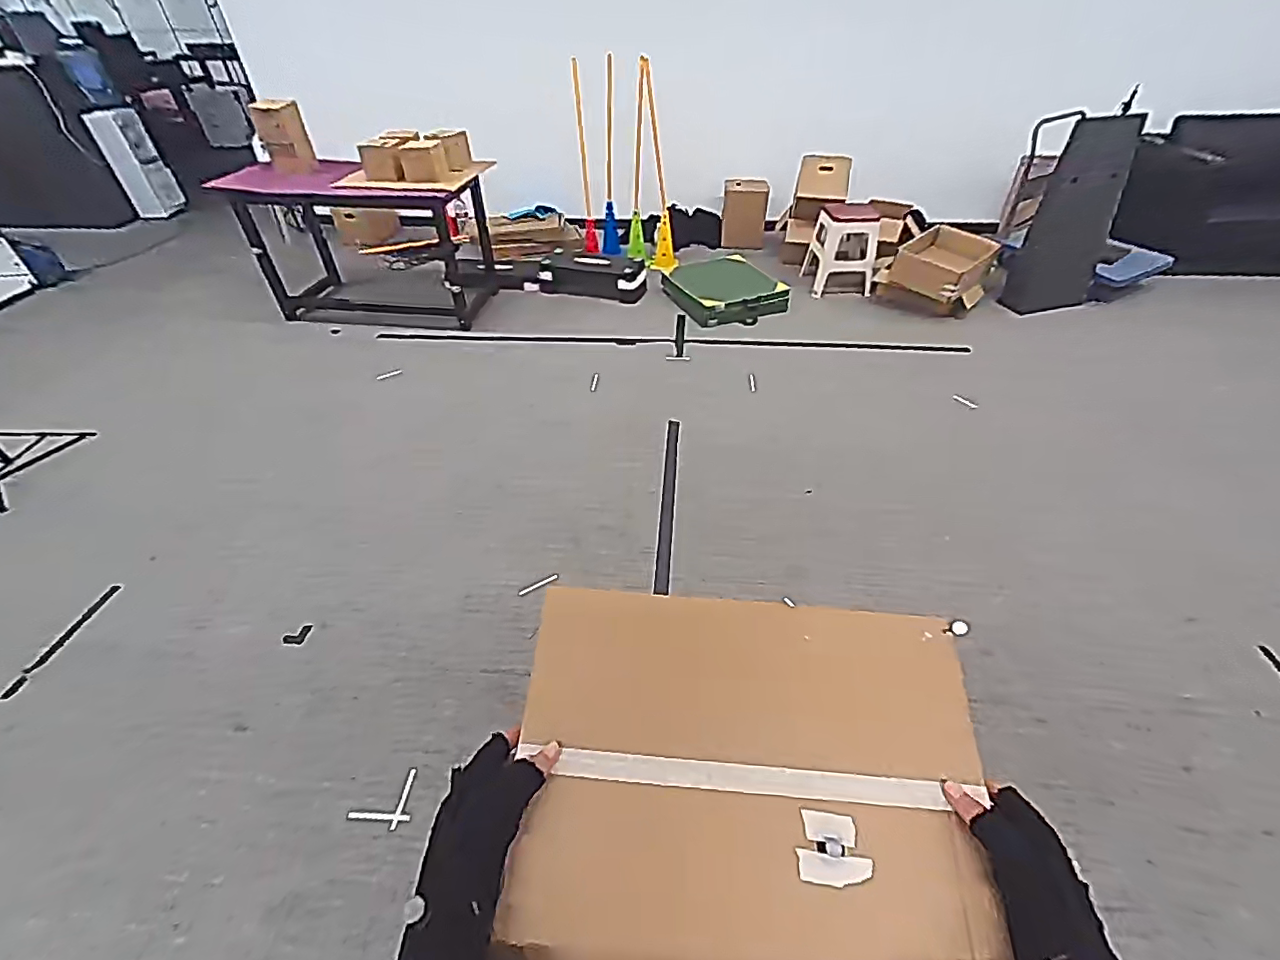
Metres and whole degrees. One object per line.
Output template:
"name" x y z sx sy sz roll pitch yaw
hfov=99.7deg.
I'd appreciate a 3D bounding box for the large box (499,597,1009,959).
"large box" 0.097 0.343 0.610 0.408 0.320 0.320 4 60 3
